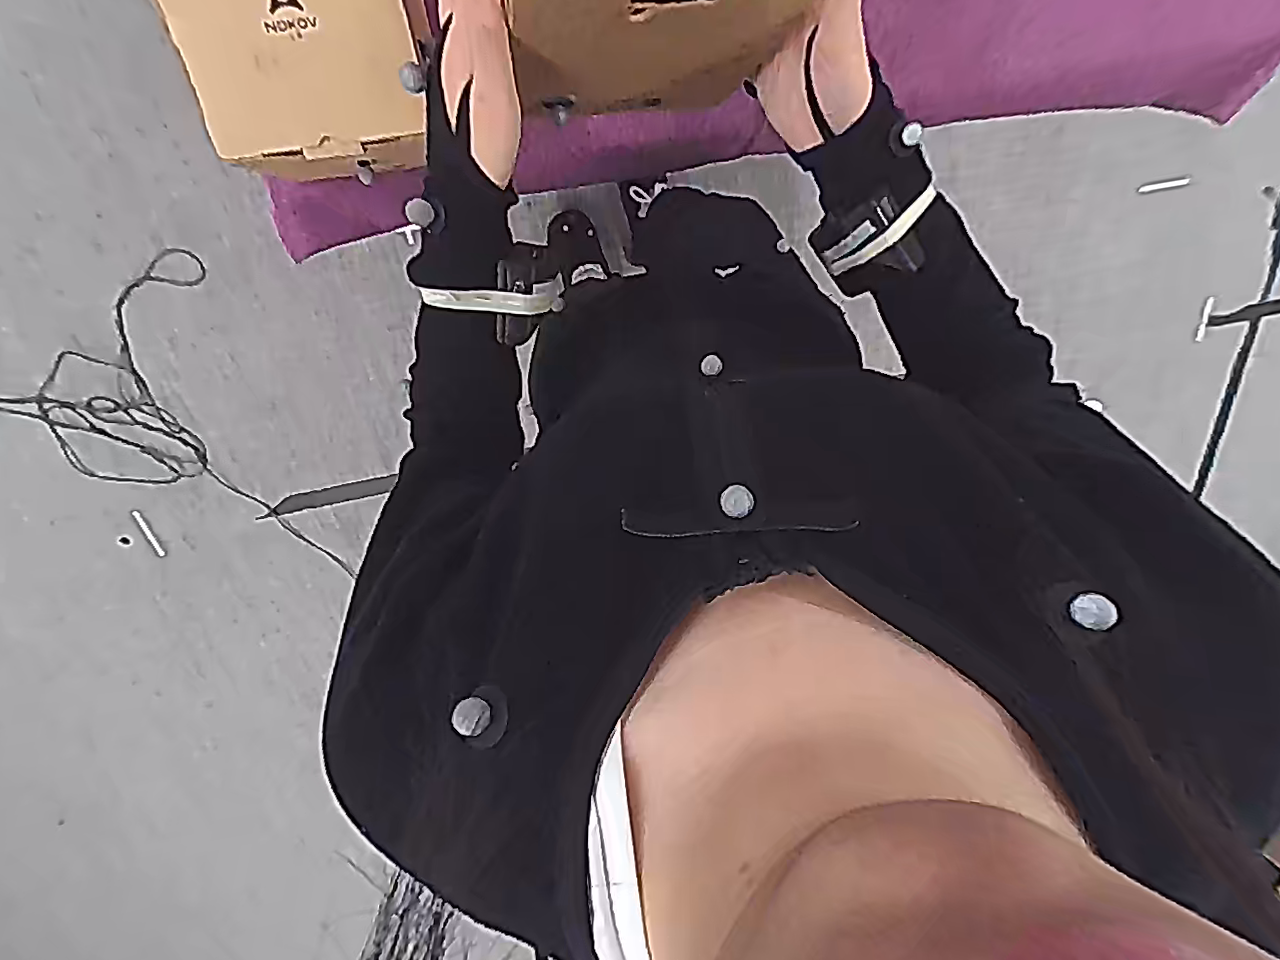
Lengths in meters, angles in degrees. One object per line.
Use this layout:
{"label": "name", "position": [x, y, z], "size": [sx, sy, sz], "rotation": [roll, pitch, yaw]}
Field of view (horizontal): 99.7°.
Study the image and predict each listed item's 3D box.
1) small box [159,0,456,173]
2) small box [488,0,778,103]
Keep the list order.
{"label": "small box", "position": [-0.266, -0.370, 0.460], "size": [0.168, 0.176, 0.179], "rotation": [-12, 117, -6]}
{"label": "small box", "position": [-0.011, -0.344, 0.311], "size": [0.168, 0.176, 0.179], "rotation": [-10, 105, -10]}
